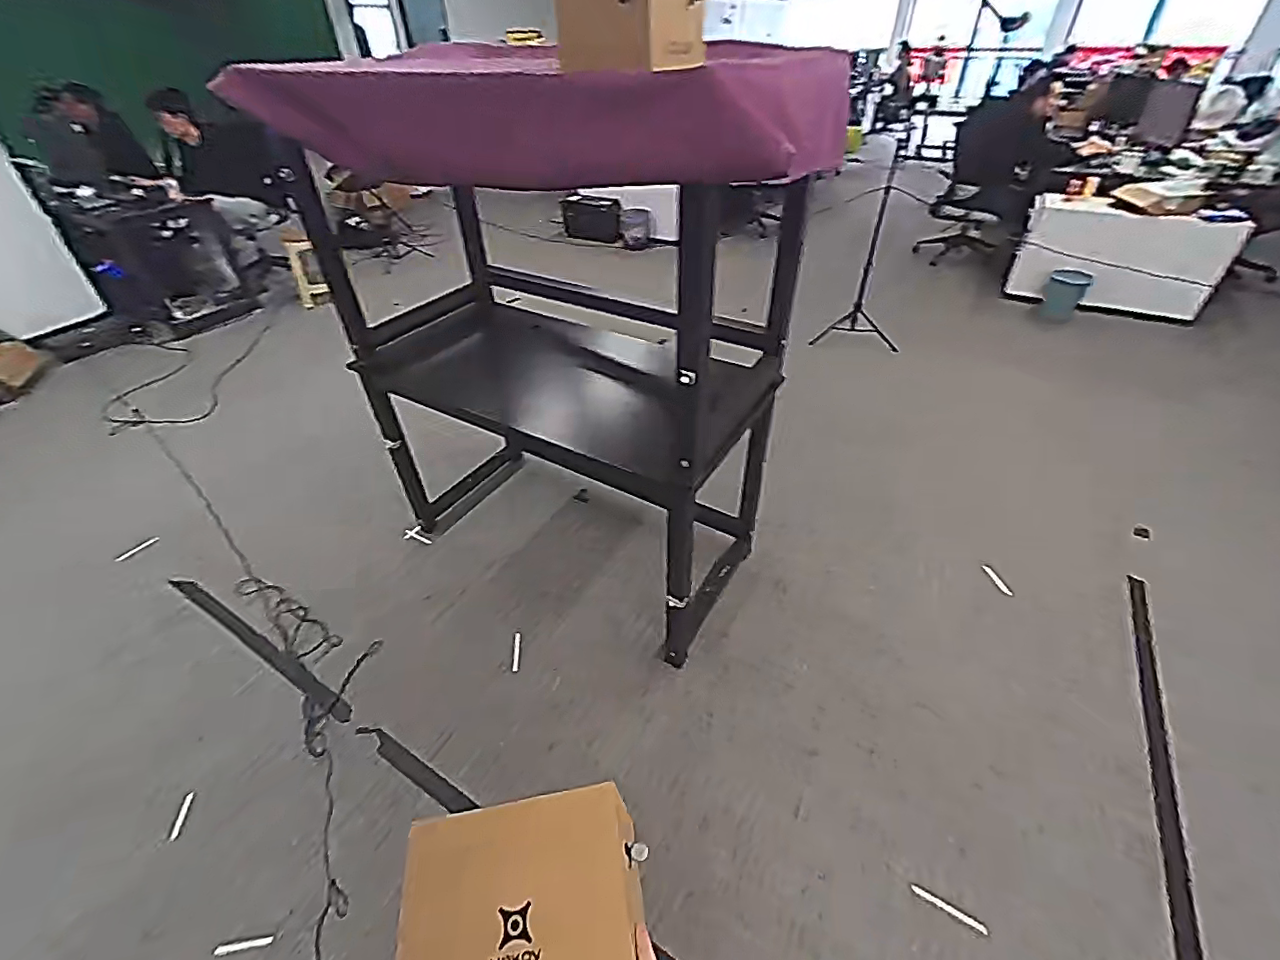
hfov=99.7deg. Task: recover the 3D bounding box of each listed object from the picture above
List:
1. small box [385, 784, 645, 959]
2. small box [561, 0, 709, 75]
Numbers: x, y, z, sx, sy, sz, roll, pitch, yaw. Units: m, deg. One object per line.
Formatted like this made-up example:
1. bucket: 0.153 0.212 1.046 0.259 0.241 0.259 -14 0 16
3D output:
1. small box: -0.086 0.369 0.426 0.168 0.176 0.179 -10 49 -3
2. small box: -0.003 -0.726 0.817 0.179 0.176 0.168 22 44 27
